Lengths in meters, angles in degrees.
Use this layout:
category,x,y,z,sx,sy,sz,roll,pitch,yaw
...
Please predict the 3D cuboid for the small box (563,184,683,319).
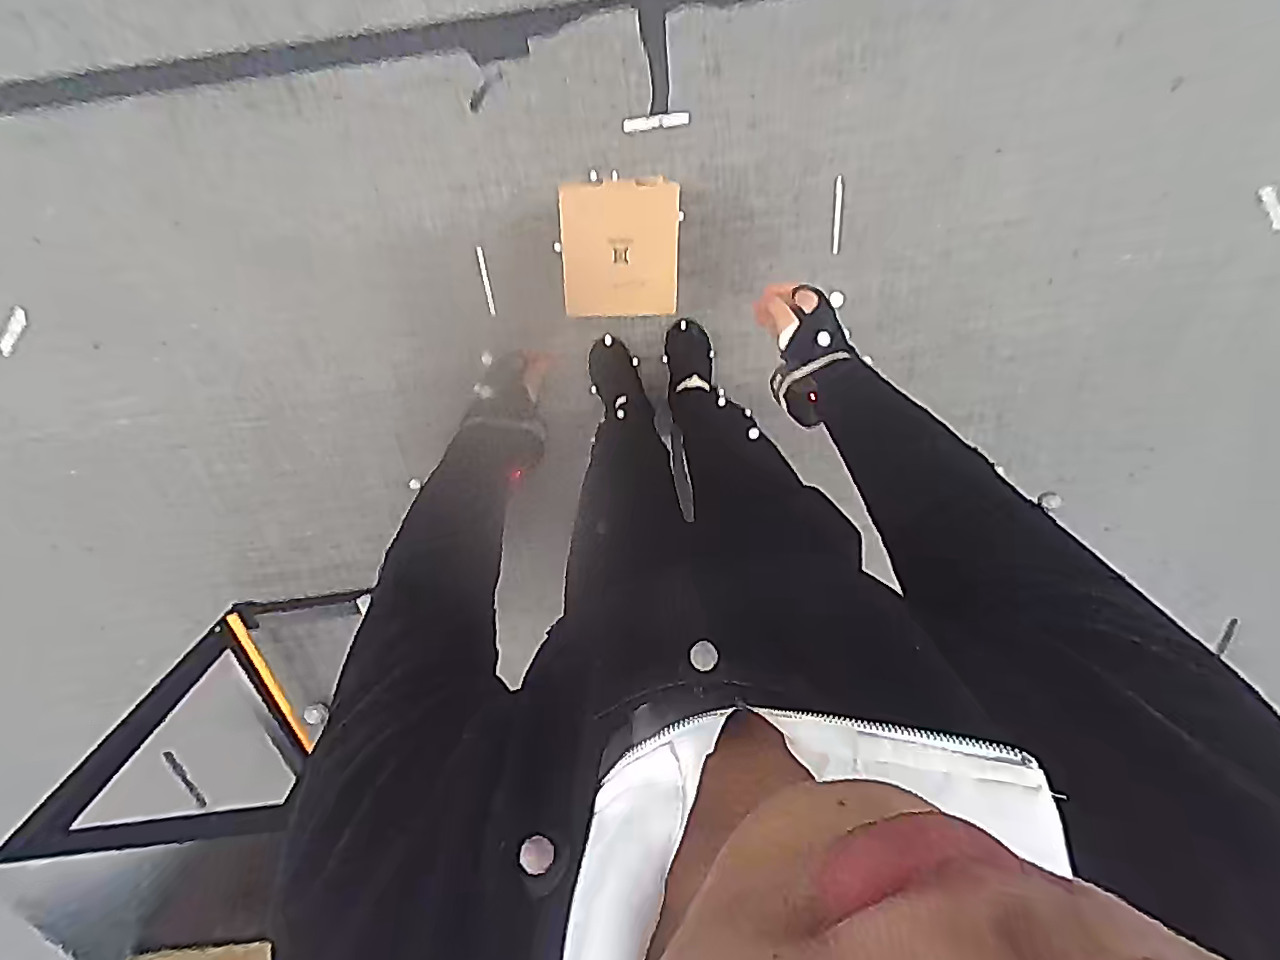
category,x,y,z,sx,sy,sz,roll,pitch,yaw
small box,-0.027,-0.351,0.831,0.168,0.176,0.179,-1,118,-1
